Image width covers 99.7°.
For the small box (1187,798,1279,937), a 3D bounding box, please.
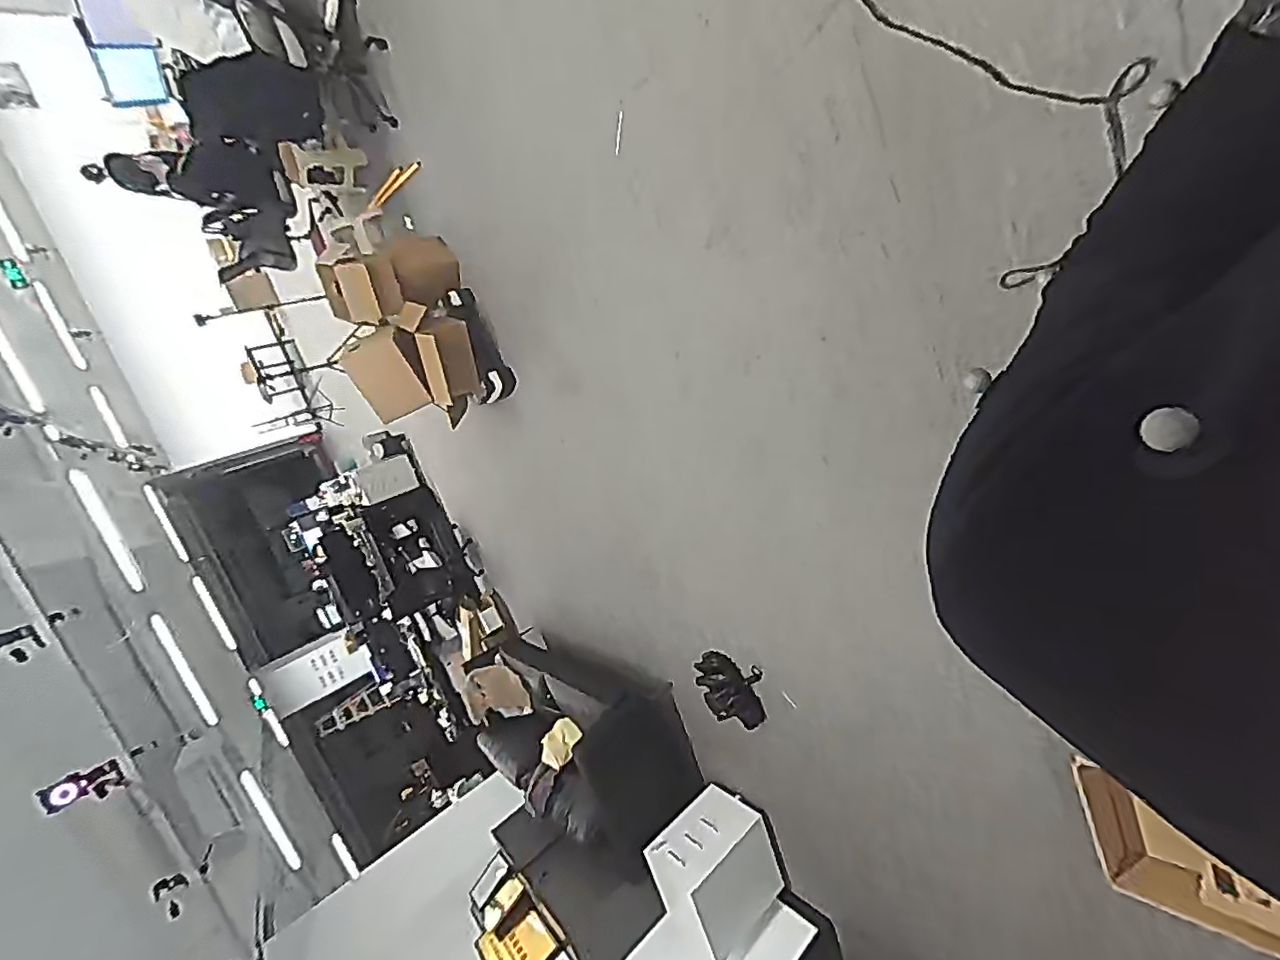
[{"bbox_3d":[1.336,0.840,1.181,0.179,0.176,0.168,0,112,52],"label":"small box"}]
